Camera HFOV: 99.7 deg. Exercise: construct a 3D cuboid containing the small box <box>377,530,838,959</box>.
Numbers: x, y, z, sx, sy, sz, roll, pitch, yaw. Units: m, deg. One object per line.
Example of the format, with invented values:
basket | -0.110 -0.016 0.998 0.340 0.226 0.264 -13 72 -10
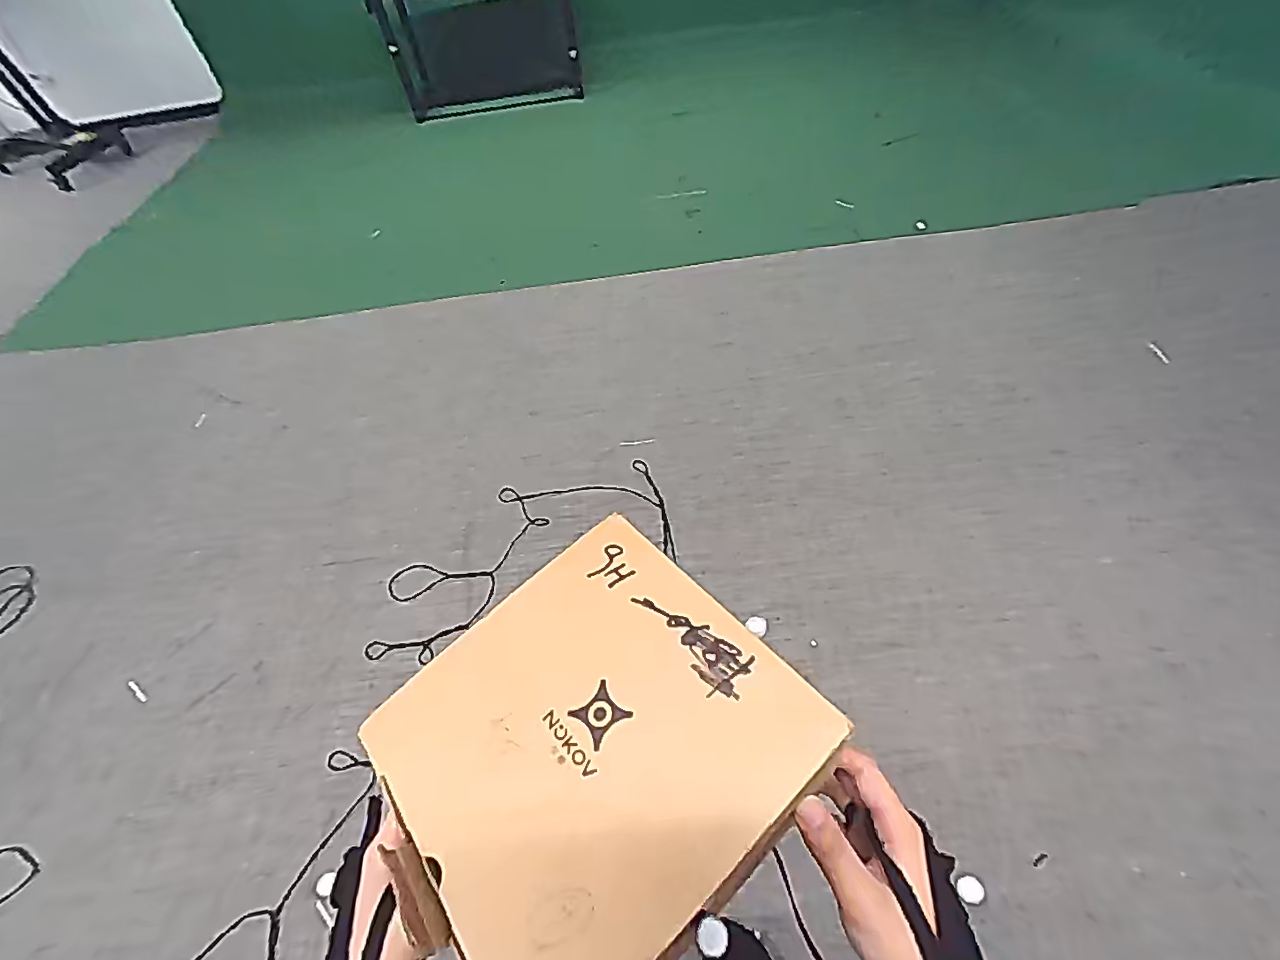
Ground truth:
small box | -0.008 0.171 0.322 0.179 0.176 0.168 -40 55 -17
